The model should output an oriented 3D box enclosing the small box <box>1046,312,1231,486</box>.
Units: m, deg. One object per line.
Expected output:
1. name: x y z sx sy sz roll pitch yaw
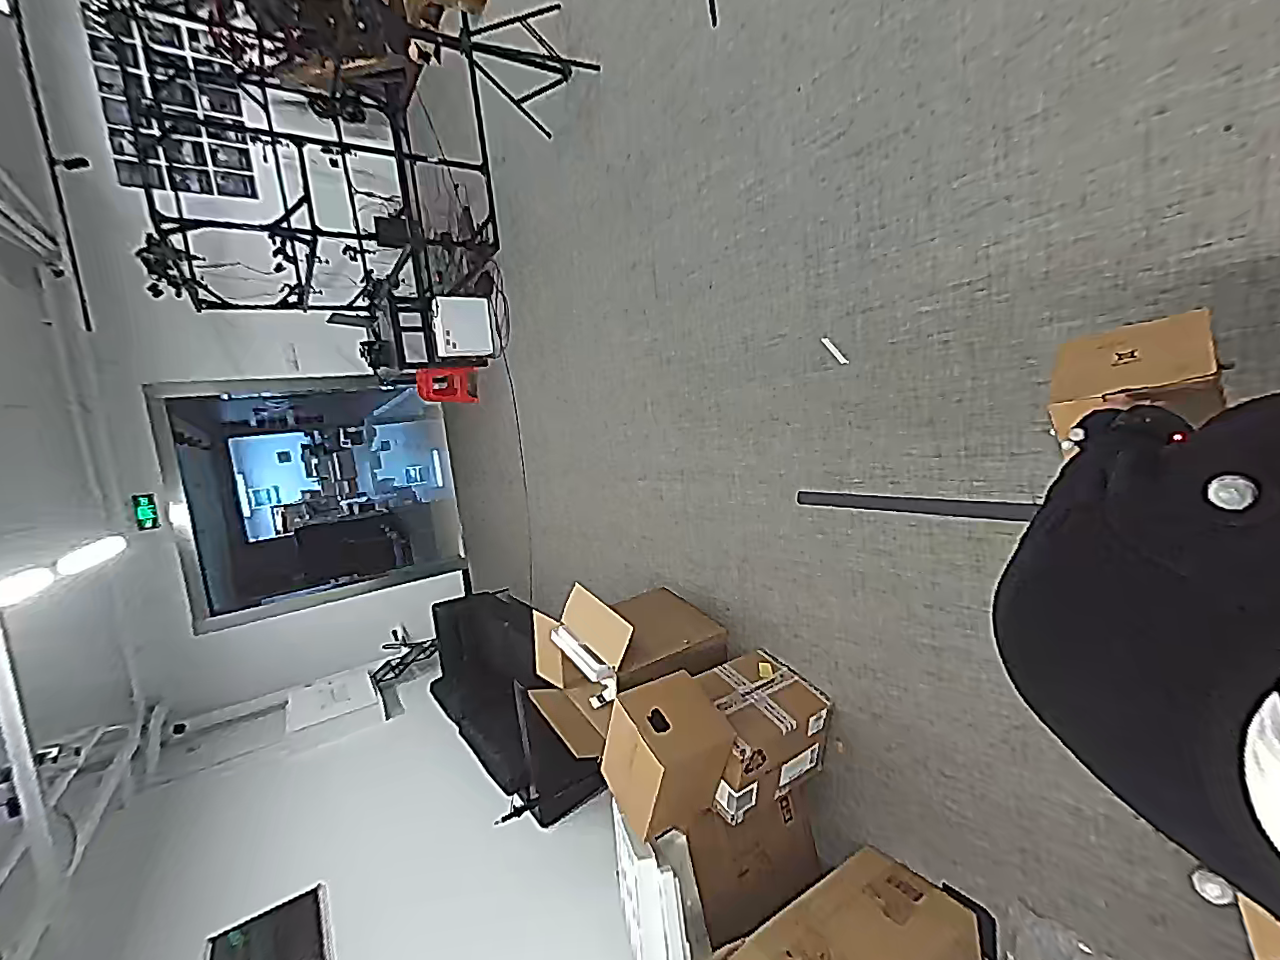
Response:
1. small box: 0.710 -0.103 0.772 0.168 0.179 0.176 -9 122 48
